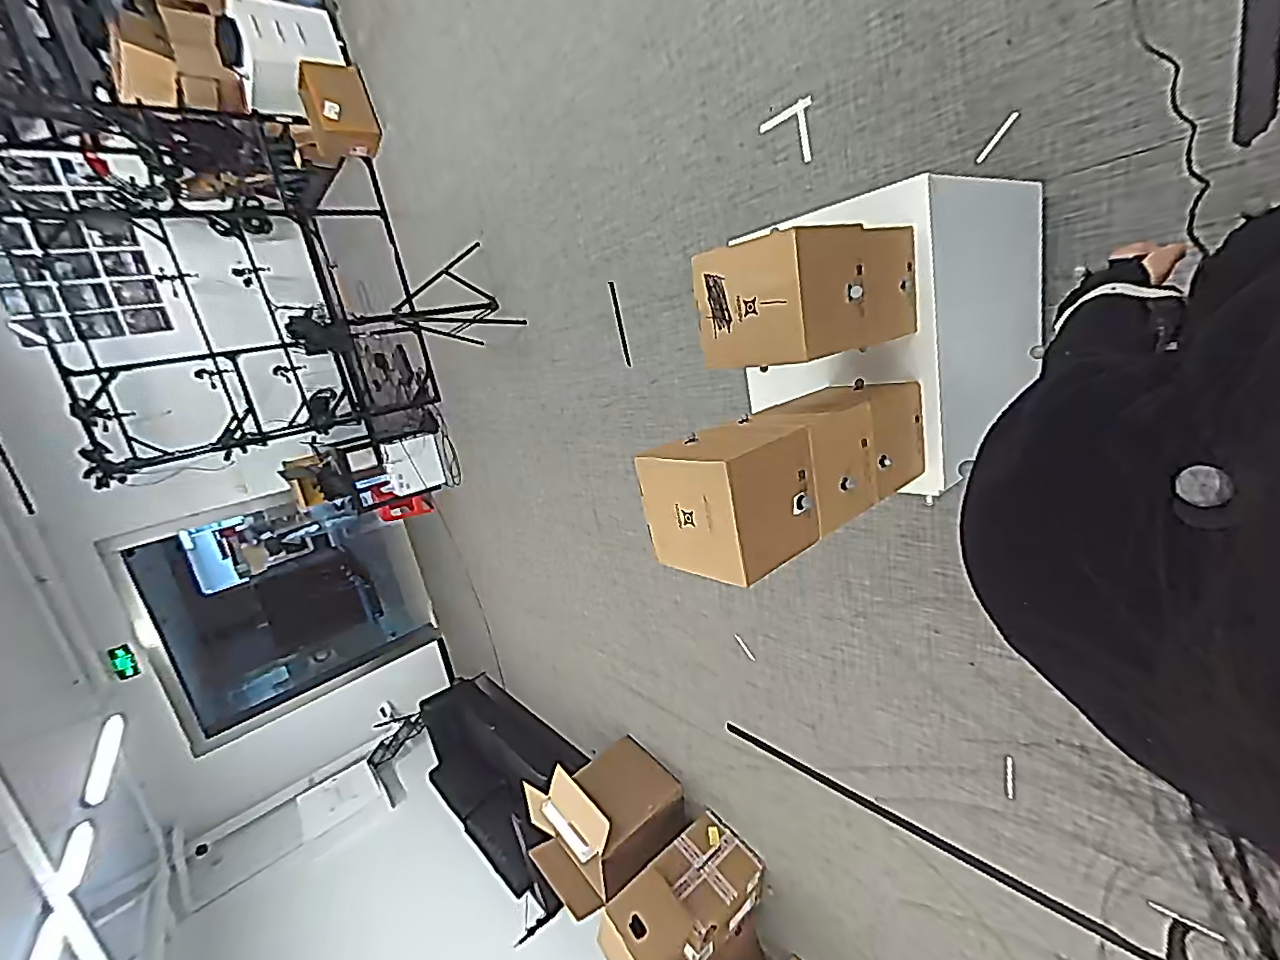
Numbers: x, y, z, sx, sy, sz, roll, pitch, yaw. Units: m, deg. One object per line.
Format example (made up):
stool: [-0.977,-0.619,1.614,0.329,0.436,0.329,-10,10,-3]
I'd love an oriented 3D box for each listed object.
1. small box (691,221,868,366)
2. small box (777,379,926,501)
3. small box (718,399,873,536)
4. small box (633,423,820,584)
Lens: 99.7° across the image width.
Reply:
small box: [0.201,-0.262,0.773,0.179,0.176,0.168,9,115,49]
small box: [0.367,-0.077,0.939,0.179,0.176,0.168,9,115,52]
small box: [0.245,-0.028,0.843,0.179,0.176,0.168,6,112,52]
small box: [0.121,0.020,0.750,0.179,0.176,0.168,5,112,51]
